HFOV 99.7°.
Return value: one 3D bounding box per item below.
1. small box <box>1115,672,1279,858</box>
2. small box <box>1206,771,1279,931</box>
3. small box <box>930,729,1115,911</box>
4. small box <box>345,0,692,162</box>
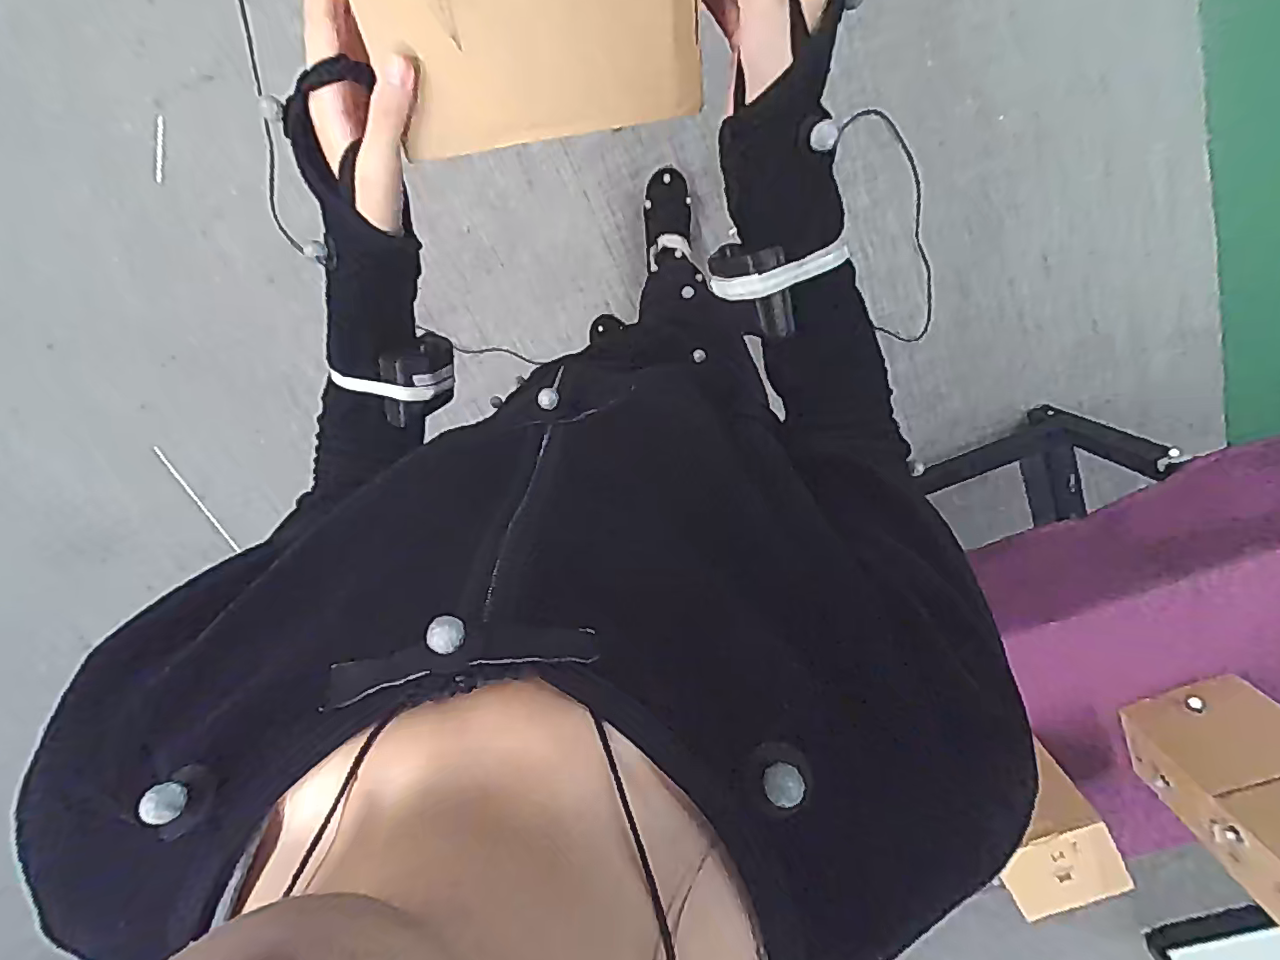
[{"bbox_3d":[0.892,0.436,0.843,0.179,0.176,0.168,-25,110,11],"label":"small box"},{"bbox_3d":[0.887,0.498,0.691,0.179,0.176,0.168,-25,109,10],"label":"small box"},{"bbox_3d":[0.624,0.558,0.901,0.168,0.176,0.179,-30,108,12],"label":"small box"},{"bbox_3d":[-0.075,-0.312,0.320,0.179,0.176,0.168,-11,134,-3],"label":"small box"}]
